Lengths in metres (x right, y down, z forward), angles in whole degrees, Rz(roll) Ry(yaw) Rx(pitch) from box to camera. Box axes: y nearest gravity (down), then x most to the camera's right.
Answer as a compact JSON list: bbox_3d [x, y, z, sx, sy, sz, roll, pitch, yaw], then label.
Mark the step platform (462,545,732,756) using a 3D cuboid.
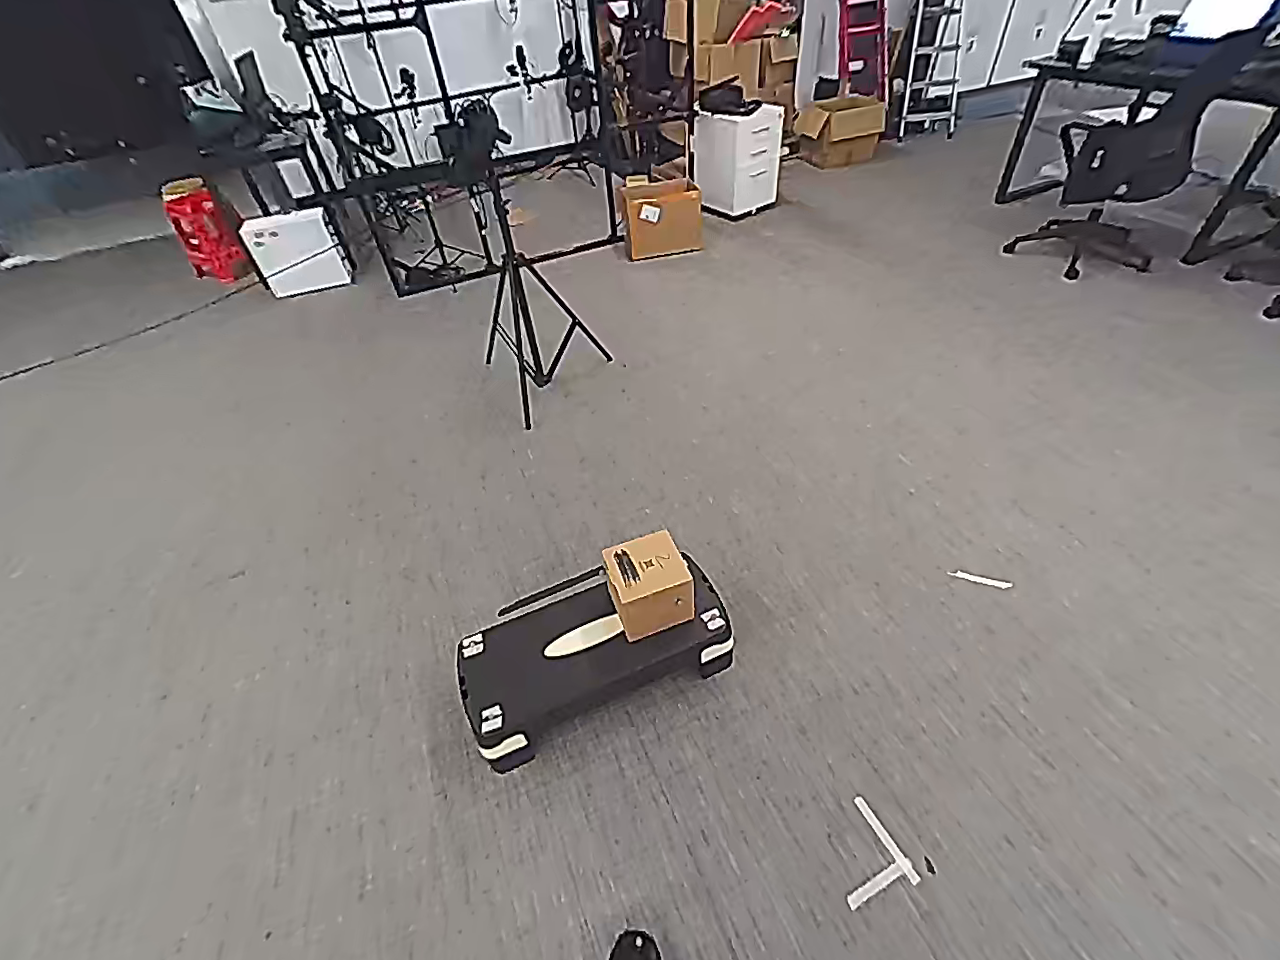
[{"bbox_3d":[-0.106,0.425,1.414,0.684,0.204,0.286,-21,46,-14],"label":"step platform"}]
